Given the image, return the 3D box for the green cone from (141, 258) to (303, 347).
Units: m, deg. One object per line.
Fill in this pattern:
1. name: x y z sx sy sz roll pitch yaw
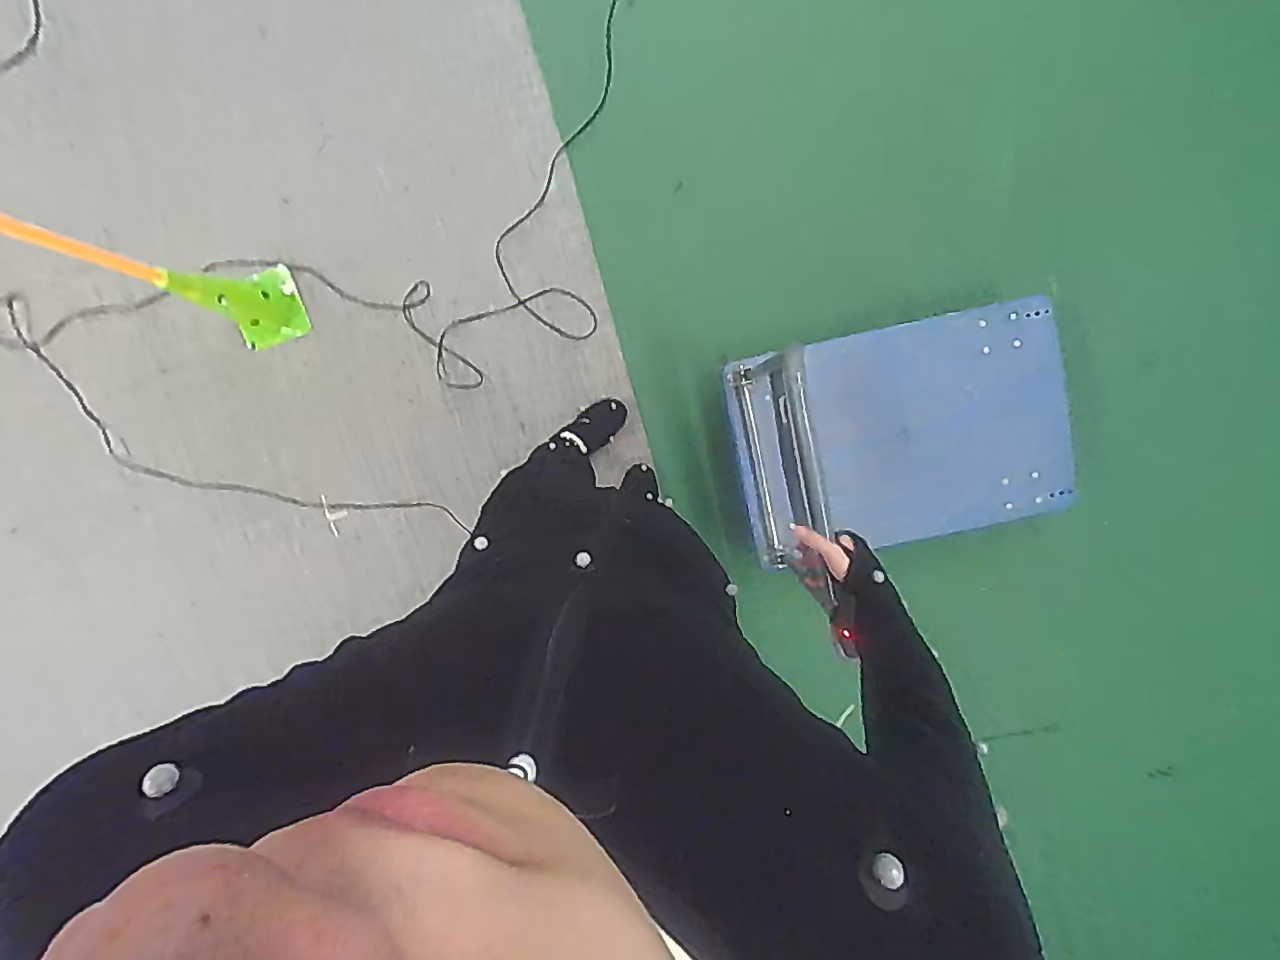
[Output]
1. green cone: -1.087 -0.487 1.382 0.200 0.368 0.202 -20 95 2
